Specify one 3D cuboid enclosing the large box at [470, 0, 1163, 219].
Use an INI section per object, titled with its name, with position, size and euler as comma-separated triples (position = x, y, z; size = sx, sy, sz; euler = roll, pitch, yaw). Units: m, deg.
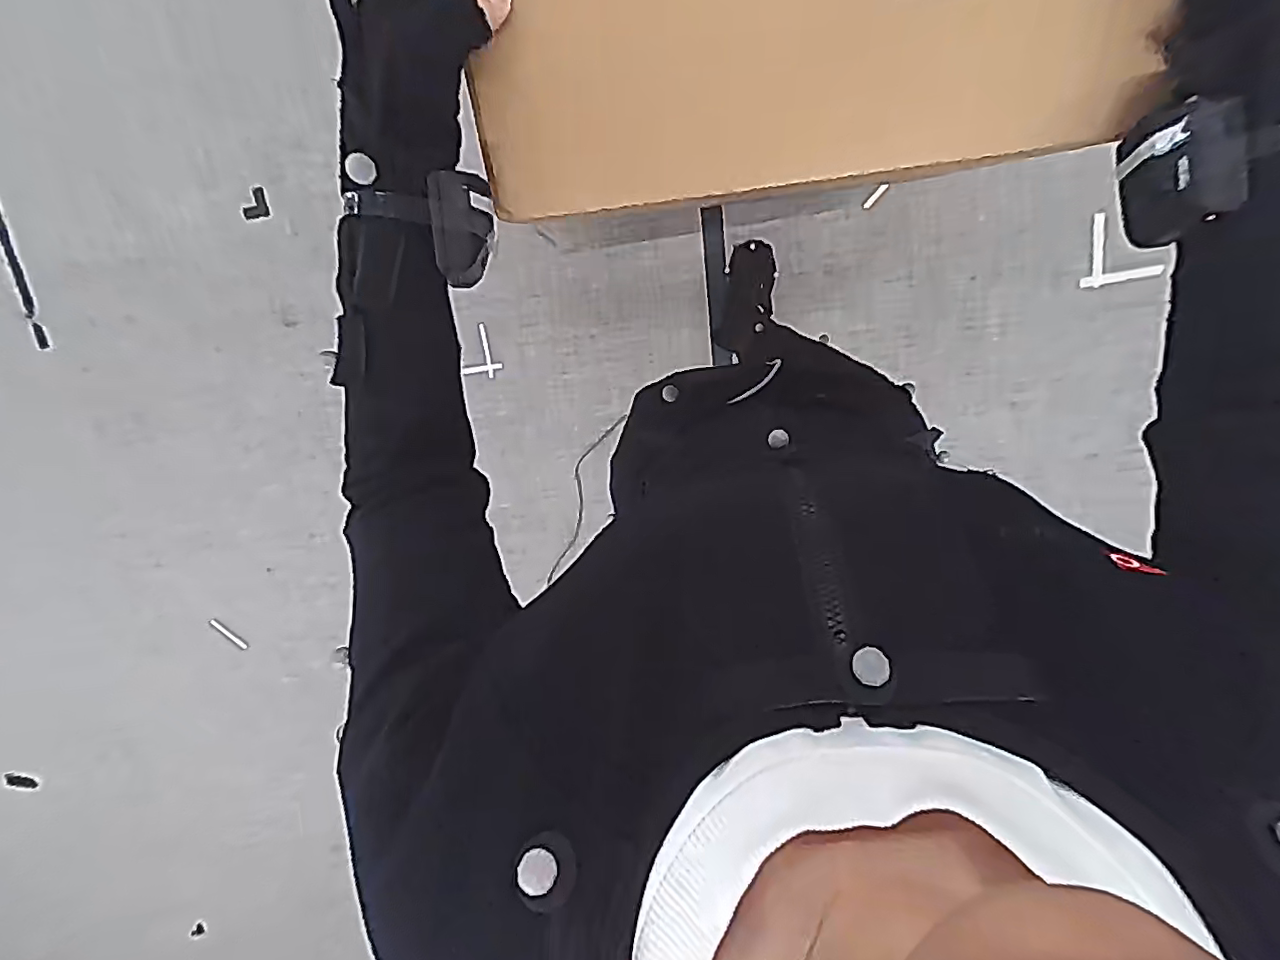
[large box]
position = 0.097, -0.404, 0.424
size = 0.408, 0.320, 0.320
euler = -5, 115, 7
